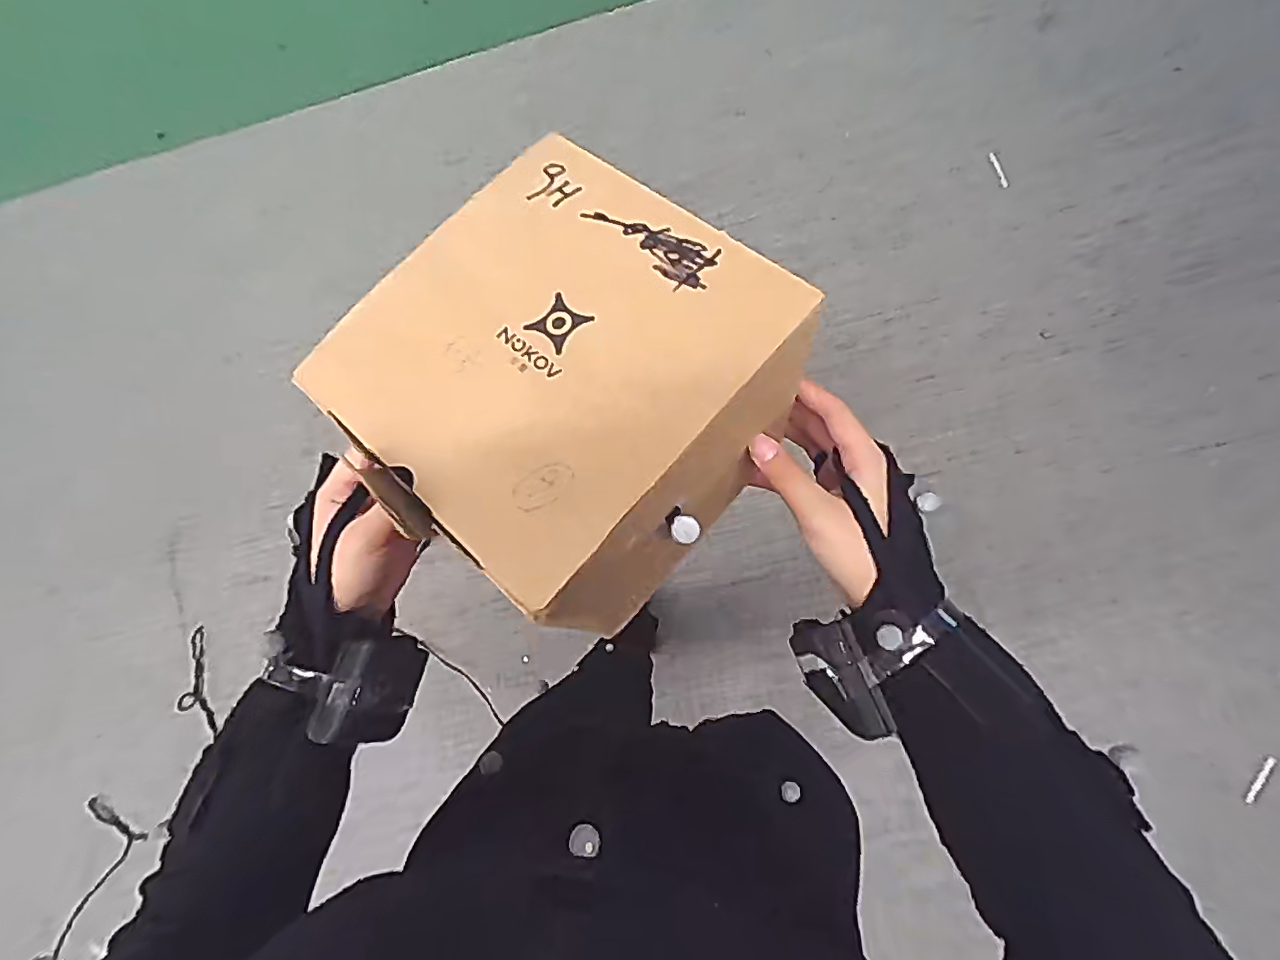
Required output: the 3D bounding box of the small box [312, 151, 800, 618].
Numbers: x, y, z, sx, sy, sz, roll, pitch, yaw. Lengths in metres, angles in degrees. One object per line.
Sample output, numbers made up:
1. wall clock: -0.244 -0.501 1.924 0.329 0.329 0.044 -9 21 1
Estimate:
1. small box: -0.032 -0.035 0.320 0.168 0.176 0.179 40 82 17
